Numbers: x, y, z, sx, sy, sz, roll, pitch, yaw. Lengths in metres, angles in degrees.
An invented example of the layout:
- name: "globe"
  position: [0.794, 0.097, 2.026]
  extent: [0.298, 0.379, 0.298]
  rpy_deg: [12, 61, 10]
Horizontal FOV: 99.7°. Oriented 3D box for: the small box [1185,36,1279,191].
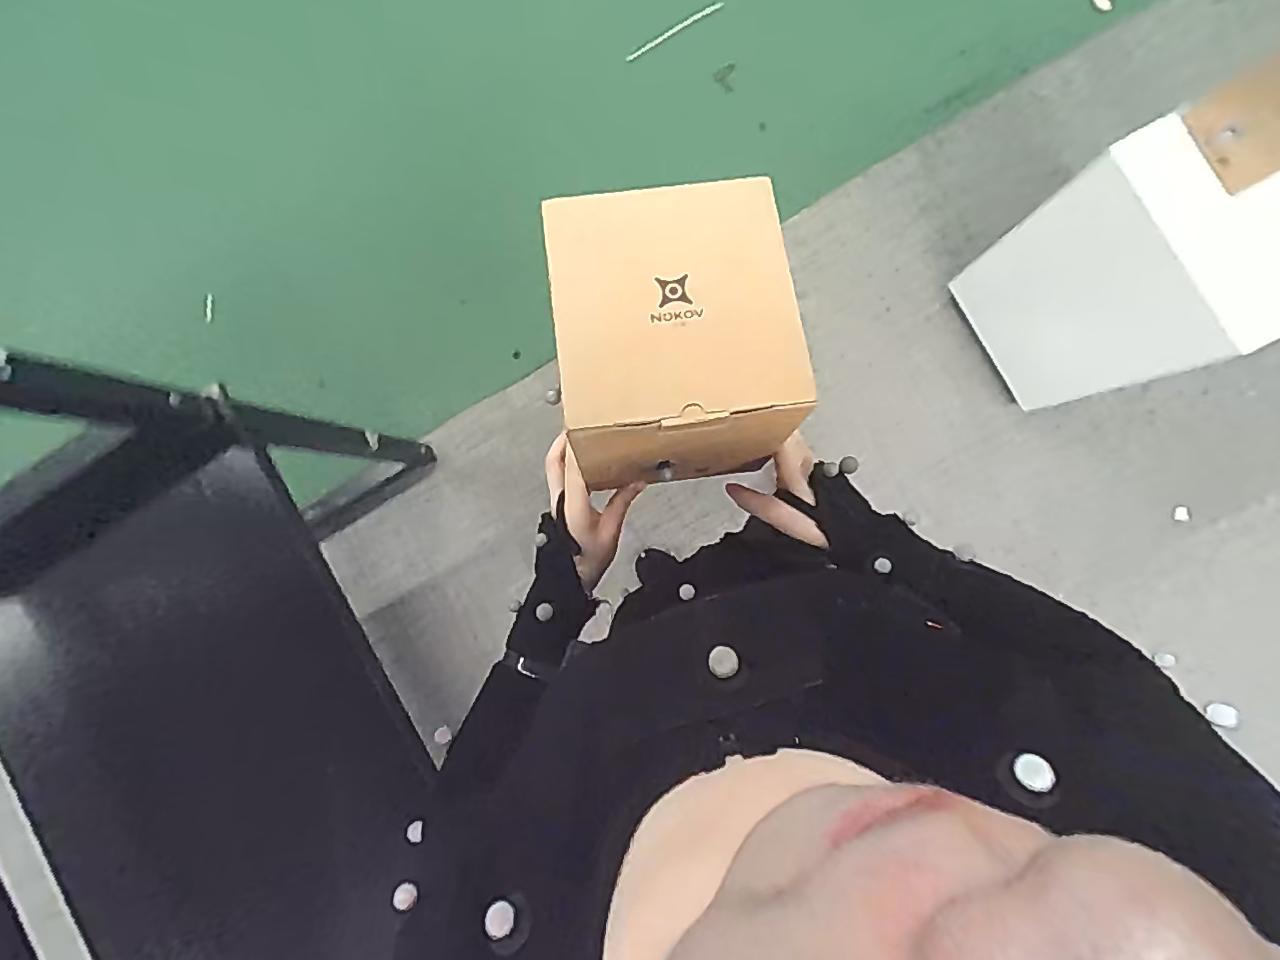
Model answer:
- name: "small box"
  position: [0.979, -0.569, 0.785]
  extent: [0.179, 0.176, 0.168]
  rpy_deg: [-29, 86, 4]
